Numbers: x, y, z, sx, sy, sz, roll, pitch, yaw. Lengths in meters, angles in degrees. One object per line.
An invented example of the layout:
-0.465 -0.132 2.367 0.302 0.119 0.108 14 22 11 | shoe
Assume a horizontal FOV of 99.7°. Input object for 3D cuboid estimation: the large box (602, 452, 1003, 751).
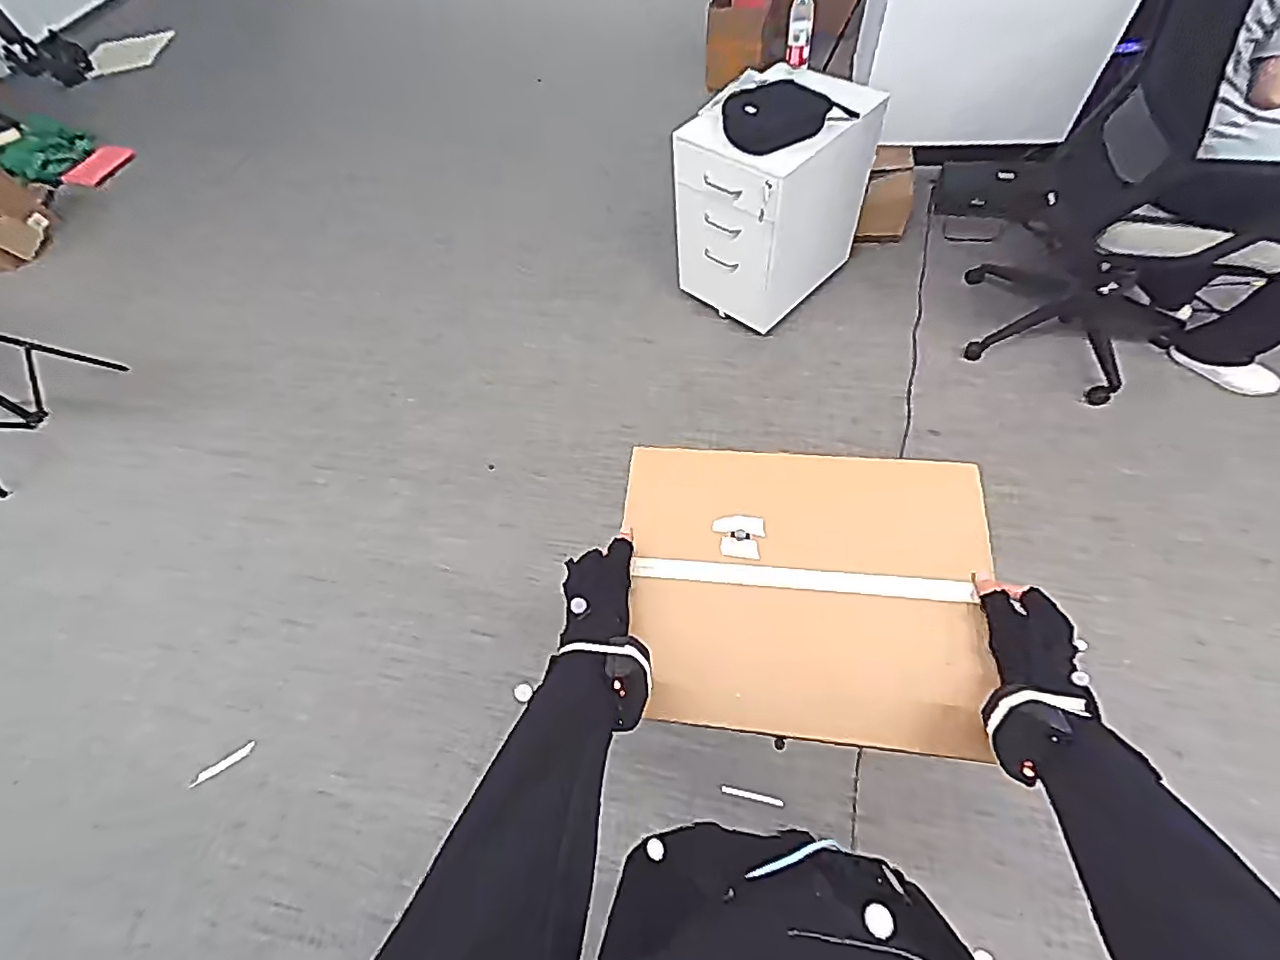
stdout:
0.192 0.170 0.741 0.408 0.320 0.320 3 66 10 | large box
